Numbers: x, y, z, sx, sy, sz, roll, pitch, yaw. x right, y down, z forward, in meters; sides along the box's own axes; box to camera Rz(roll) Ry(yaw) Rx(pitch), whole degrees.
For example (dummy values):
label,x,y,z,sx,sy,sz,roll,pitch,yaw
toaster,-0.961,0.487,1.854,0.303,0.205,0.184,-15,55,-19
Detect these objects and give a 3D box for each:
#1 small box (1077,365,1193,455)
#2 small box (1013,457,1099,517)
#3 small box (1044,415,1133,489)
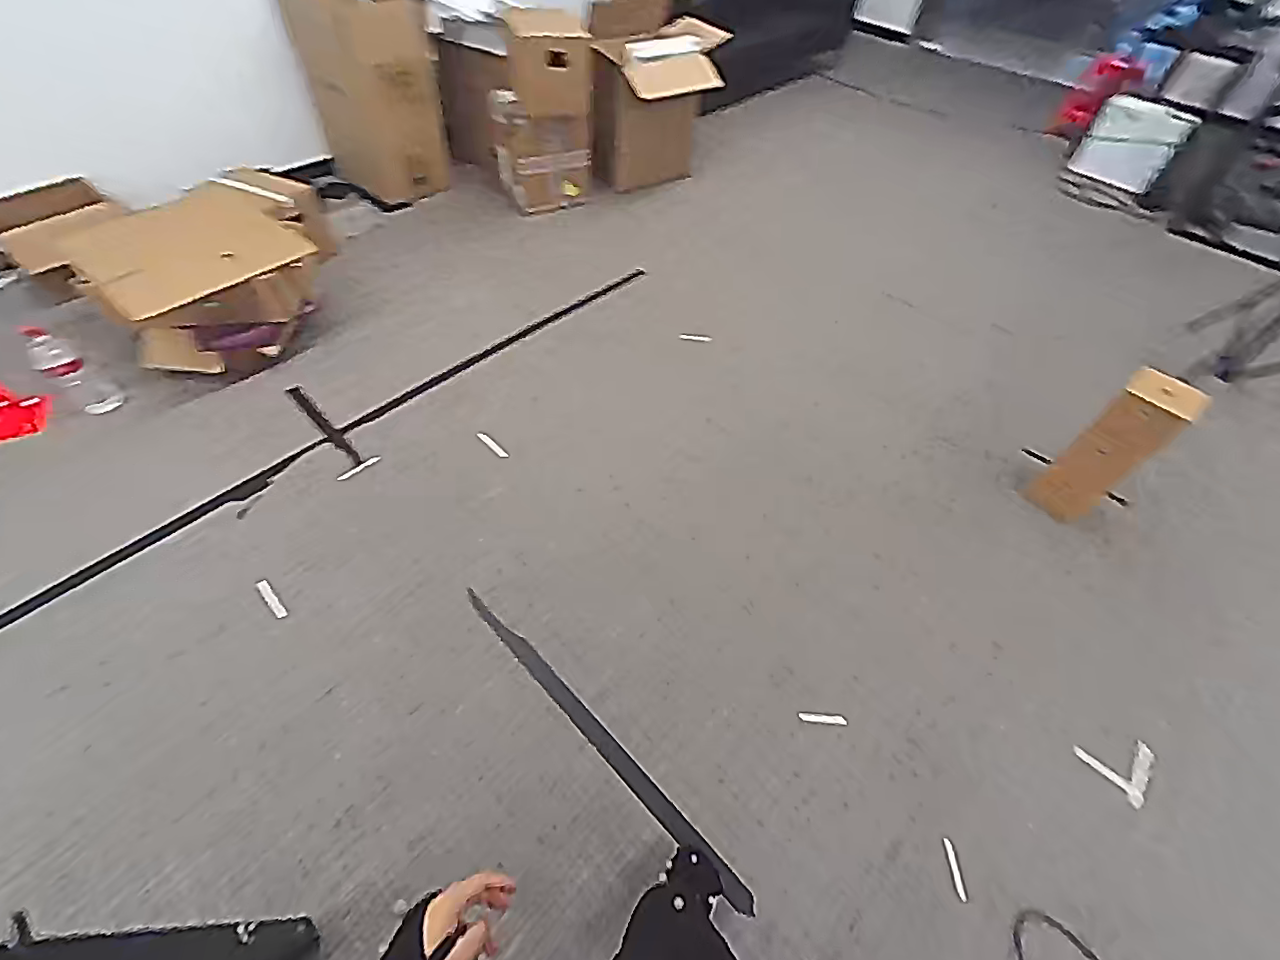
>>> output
label,x,y,z,sx,sy,sz,roll,pitch,yaw
small box,1.474,-0.207,1.621,0.168,0.176,0.179,-35,61,-25
small box,1.452,0.004,1.869,0.168,0.176,0.179,-34,61,-26
small box,1.463,-0.103,1.744,0.168,0.176,0.179,-32,59,-24
